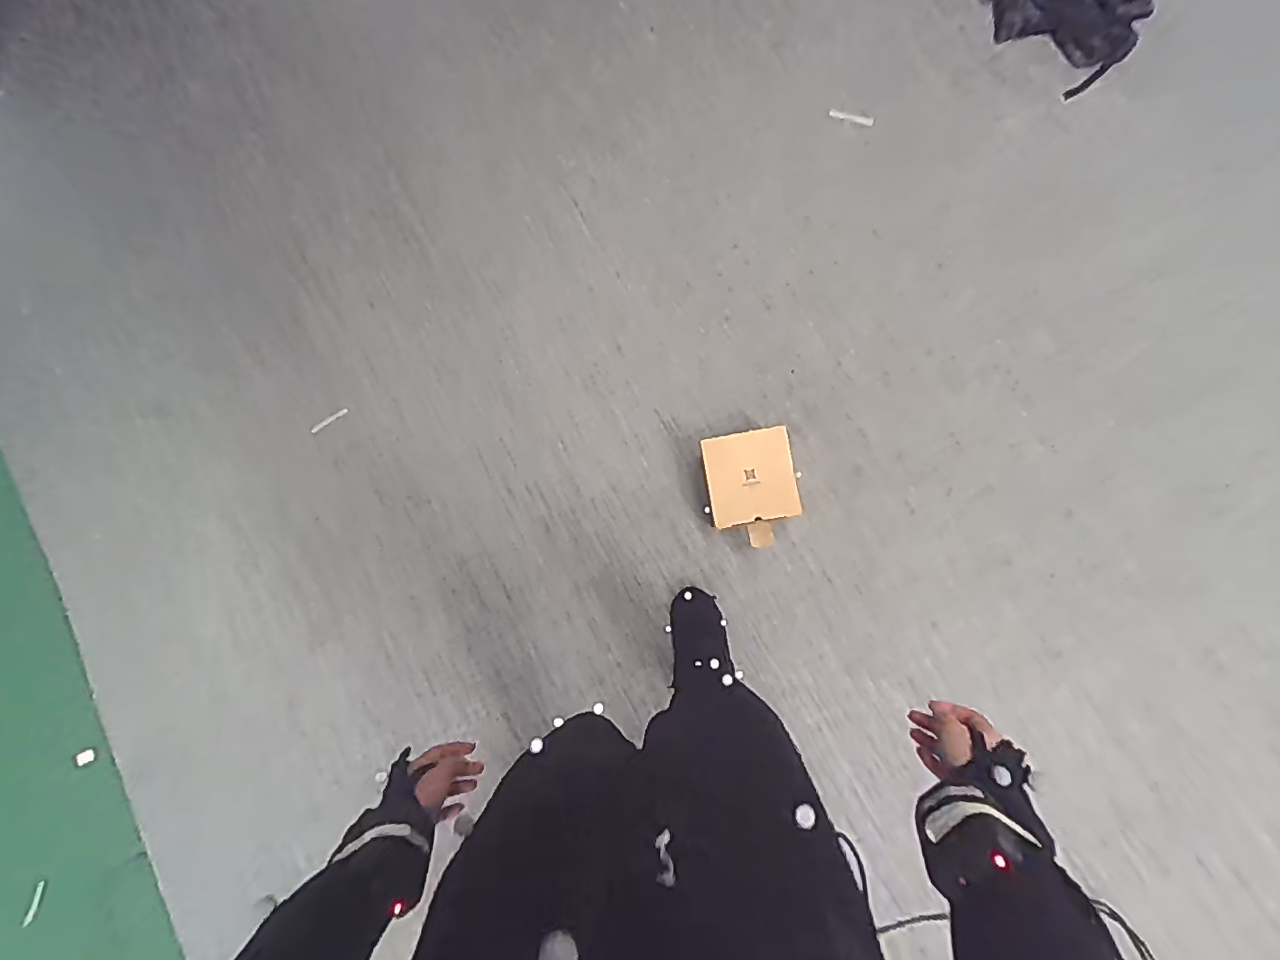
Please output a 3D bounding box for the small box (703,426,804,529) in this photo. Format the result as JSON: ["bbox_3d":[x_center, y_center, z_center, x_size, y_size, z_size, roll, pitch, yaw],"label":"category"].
[{"bbox_3d":[0.220,0.002,1.094,0.168,0.176,0.179,-10,84,7],"label":"small box"}]
